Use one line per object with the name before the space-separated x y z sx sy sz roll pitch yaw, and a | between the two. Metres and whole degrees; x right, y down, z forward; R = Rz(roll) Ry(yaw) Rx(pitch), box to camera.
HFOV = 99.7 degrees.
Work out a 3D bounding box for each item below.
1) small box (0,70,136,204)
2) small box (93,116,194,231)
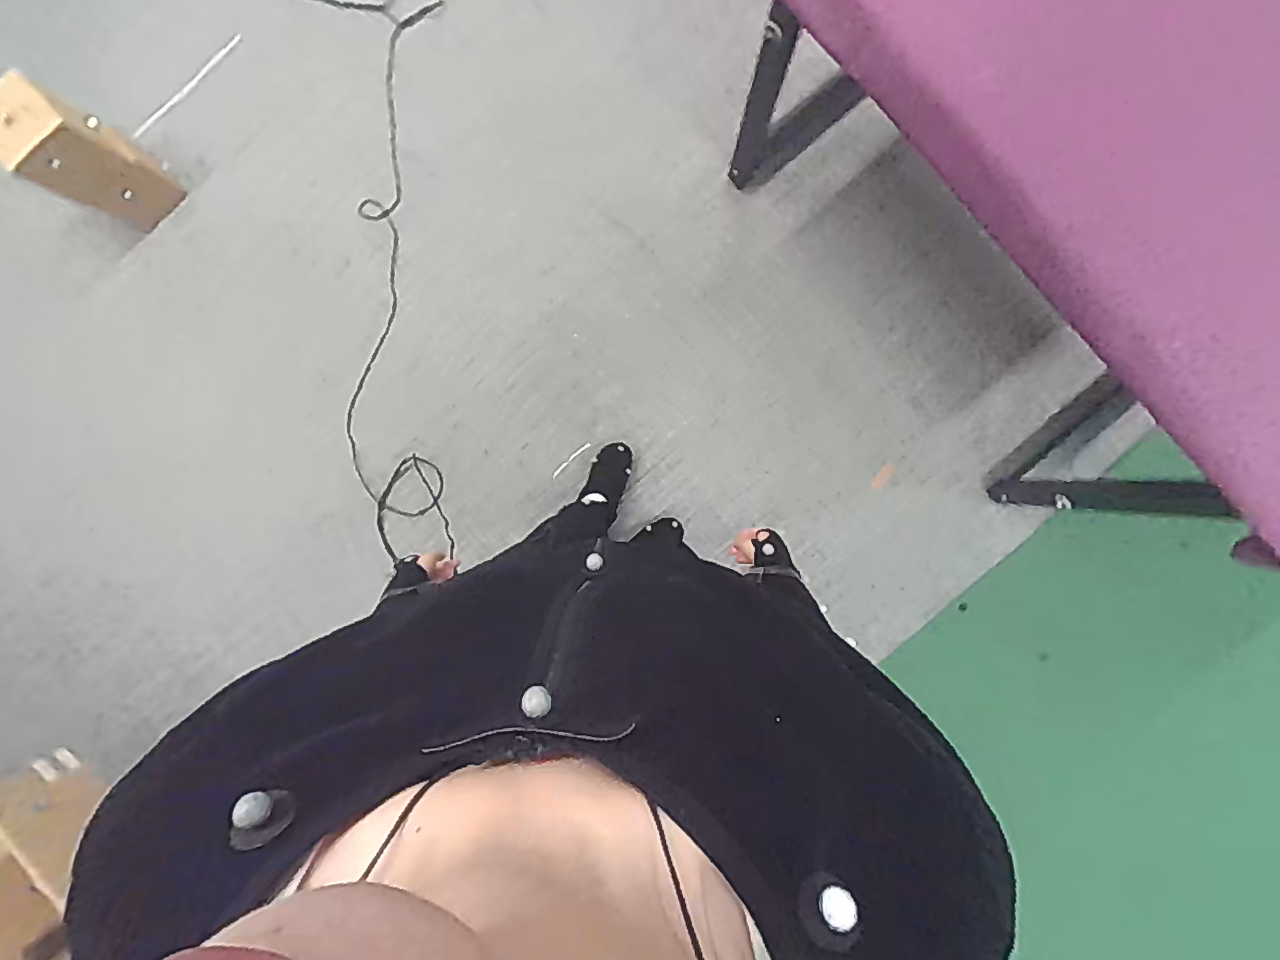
small box | -1.399 -0.814 1.306 0.179 0.176 0.168 -42 90 1
small box | -1.387 -0.821 1.470 0.179 0.176 0.168 -42 89 1
